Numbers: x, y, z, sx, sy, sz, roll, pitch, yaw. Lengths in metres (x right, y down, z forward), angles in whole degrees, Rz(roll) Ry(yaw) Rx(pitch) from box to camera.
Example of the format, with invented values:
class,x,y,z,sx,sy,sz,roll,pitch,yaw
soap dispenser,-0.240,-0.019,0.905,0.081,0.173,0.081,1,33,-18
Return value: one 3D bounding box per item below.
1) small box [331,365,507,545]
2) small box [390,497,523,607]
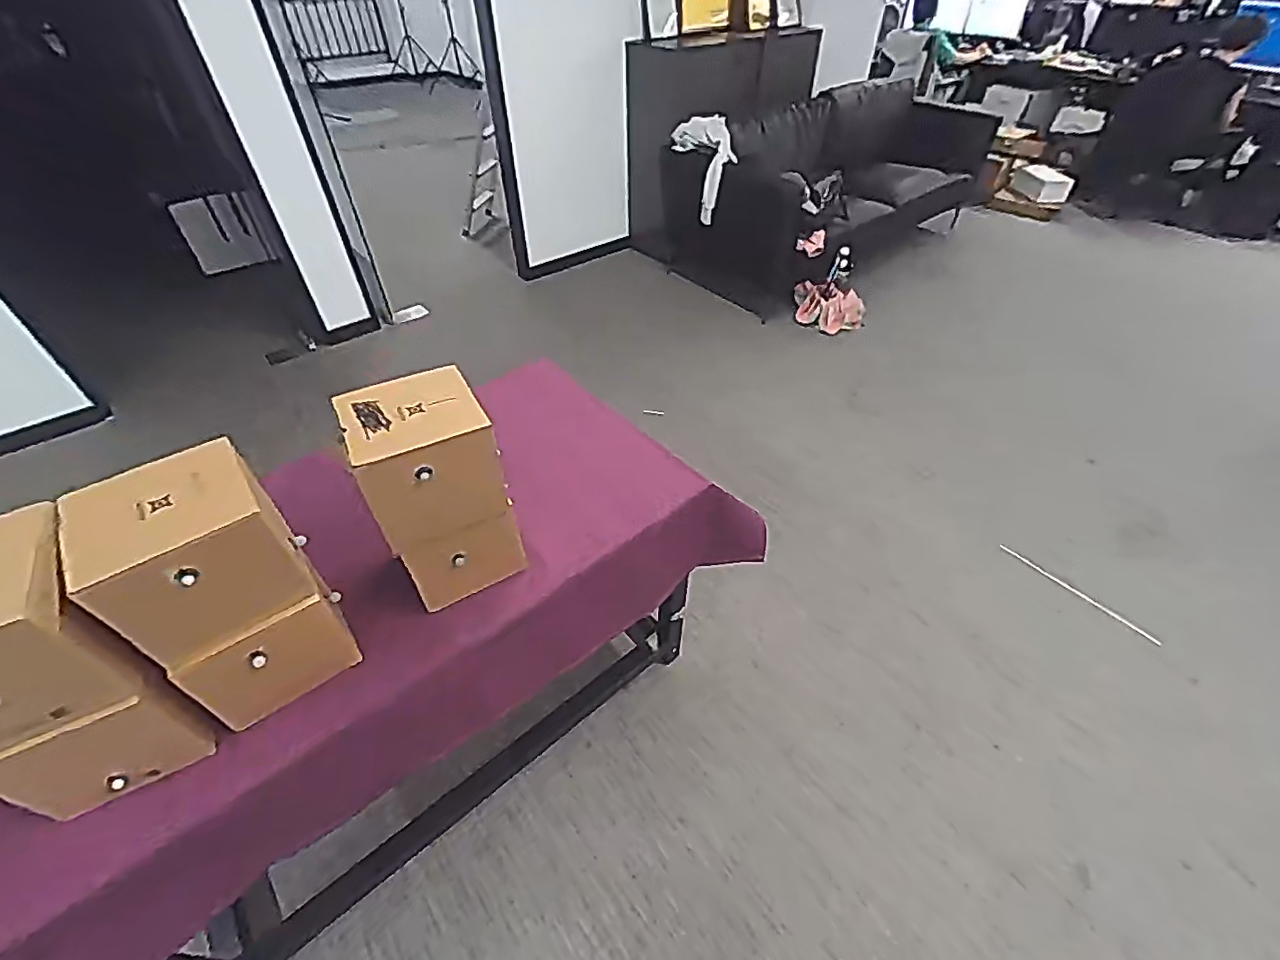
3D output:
class,x,y,z,sx,sy,sz,roll,pitch,yaw
small box,-0.310,-0.035,0.775,0.179,0.176,0.168,-21,49,-22
small box,-0.313,0.078,0.895,0.179,0.176,0.168,-24,50,-22
